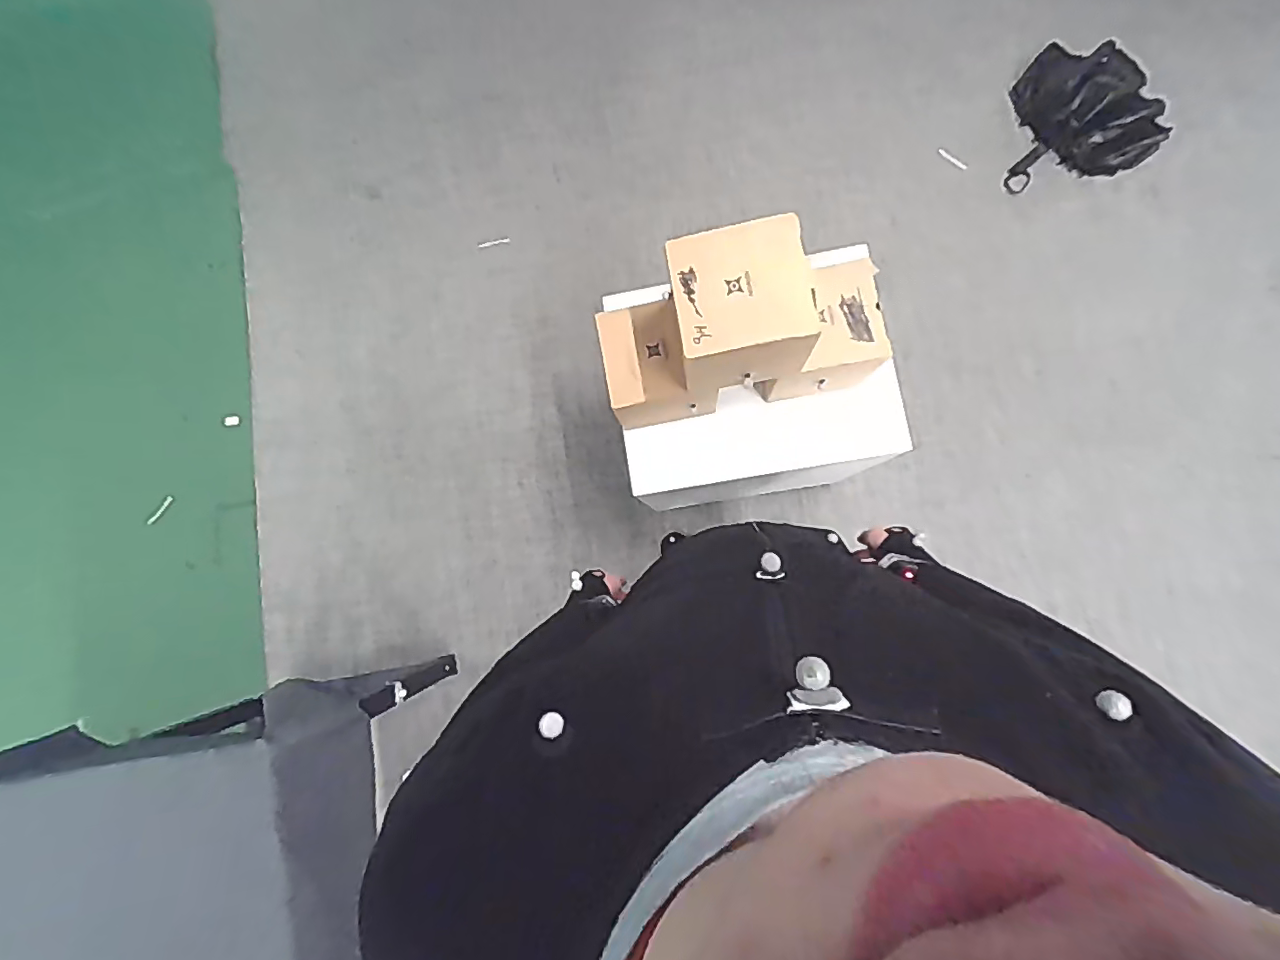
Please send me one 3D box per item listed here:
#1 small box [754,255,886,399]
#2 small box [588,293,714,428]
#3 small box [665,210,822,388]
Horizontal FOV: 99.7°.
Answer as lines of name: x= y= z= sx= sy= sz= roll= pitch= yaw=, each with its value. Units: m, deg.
small box: x=0.282 y=-0.246 z=0.908 sx=0.179 sy=0.176 sz=0.168 roll=-10 pitch=83 yaw=4
small box: x=0.021 y=-0.198 z=0.924 sx=0.179 sy=0.176 sz=0.168 roll=-12 pitch=82 yaw=3
small box: x=0.132 y=-0.240 z=0.755 sx=0.179 sy=0.176 sz=0.168 roll=-10 pitch=83 yaw=3
